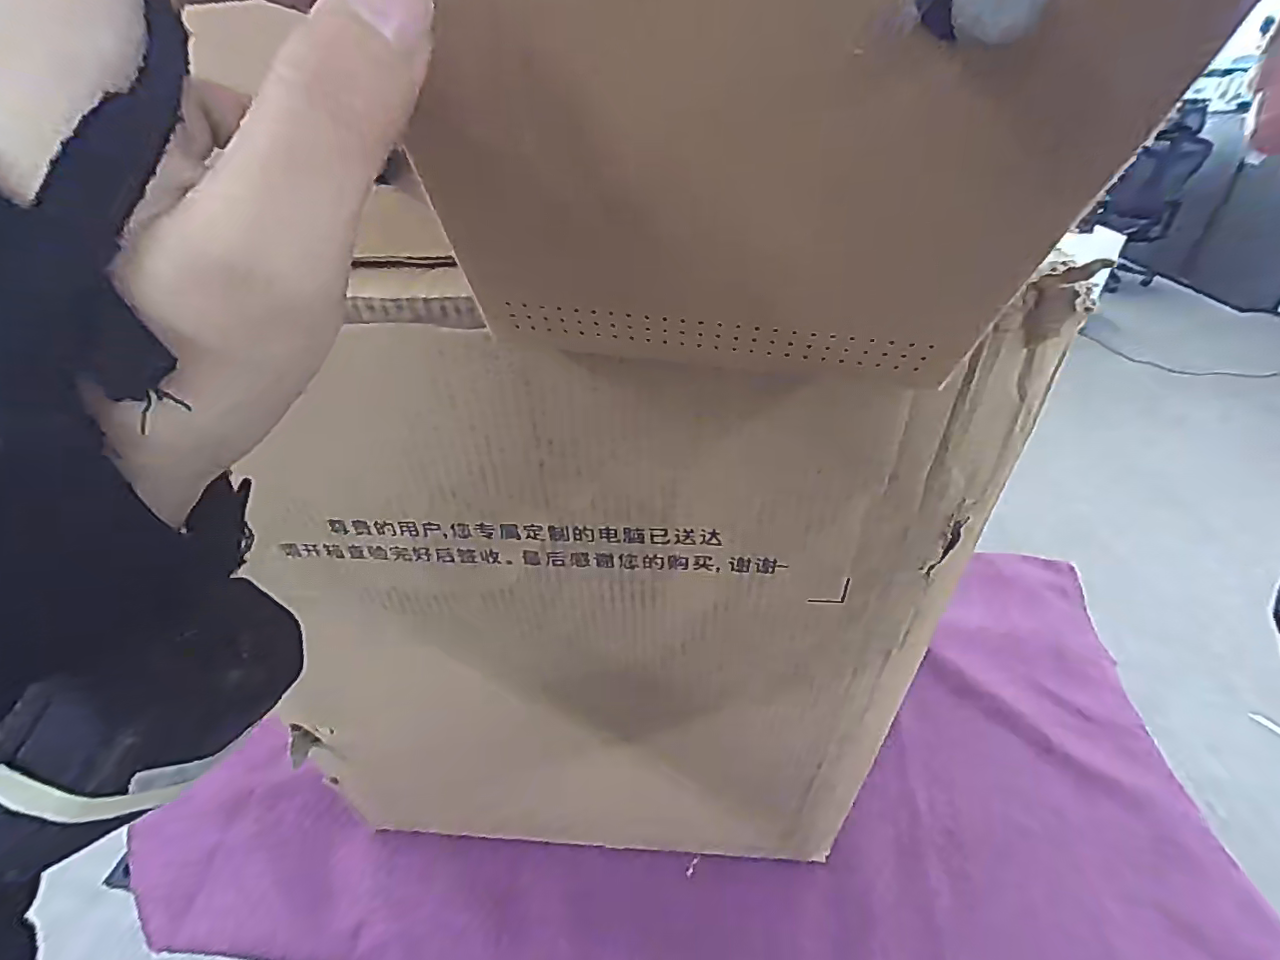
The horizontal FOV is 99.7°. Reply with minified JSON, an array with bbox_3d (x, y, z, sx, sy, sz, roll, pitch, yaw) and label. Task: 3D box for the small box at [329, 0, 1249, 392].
[{"bbox_3d":[0.034,-0.146,0.174,0.179,0.176,0.168,8,66,7],"label":"small box"}]
